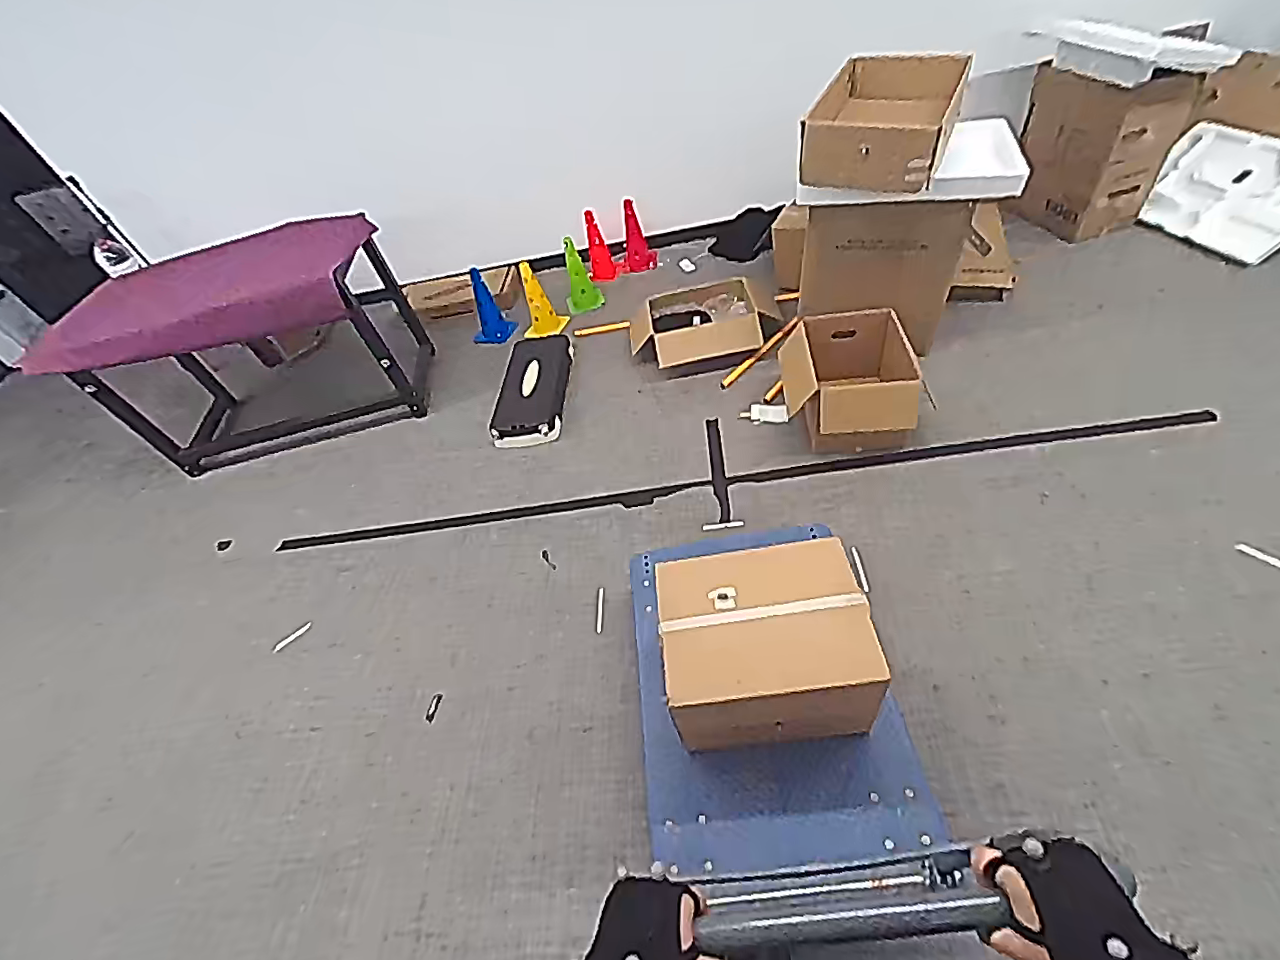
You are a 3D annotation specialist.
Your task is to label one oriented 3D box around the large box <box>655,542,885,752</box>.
[{"bbox_3d":[0.269,0.378,1.197,0.408,0.320,0.320,-11,47,6],"label":"large box"}]
